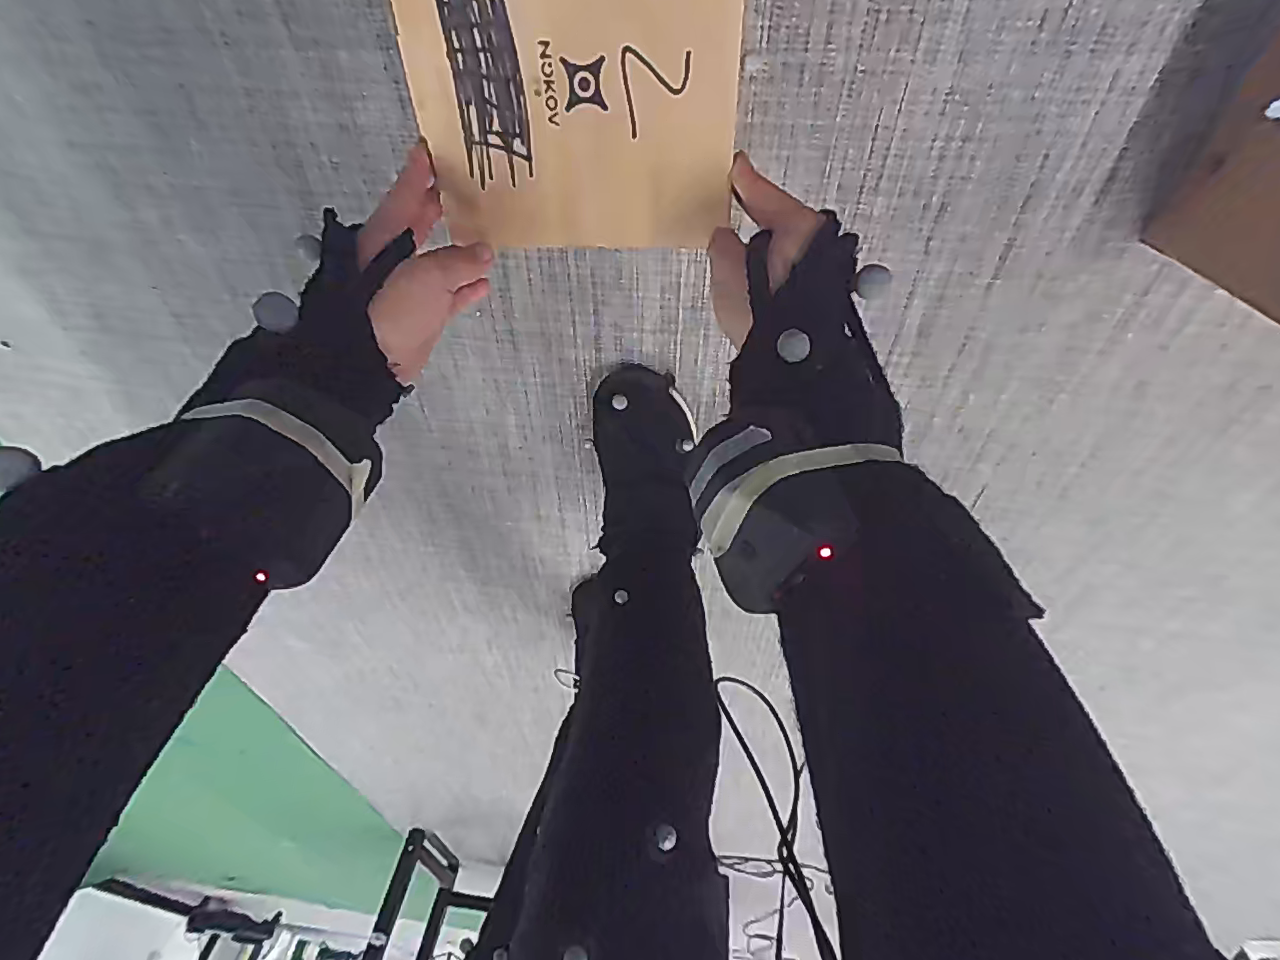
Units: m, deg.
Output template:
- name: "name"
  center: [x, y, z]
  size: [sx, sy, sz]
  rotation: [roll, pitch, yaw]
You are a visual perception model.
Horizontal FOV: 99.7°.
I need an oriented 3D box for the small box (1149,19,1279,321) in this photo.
- name: "small box"
  center: [0.478, -0.192, 0.314]
  size: [0.179, 0.176, 0.168]
  rotation: [7, 133, 4]
